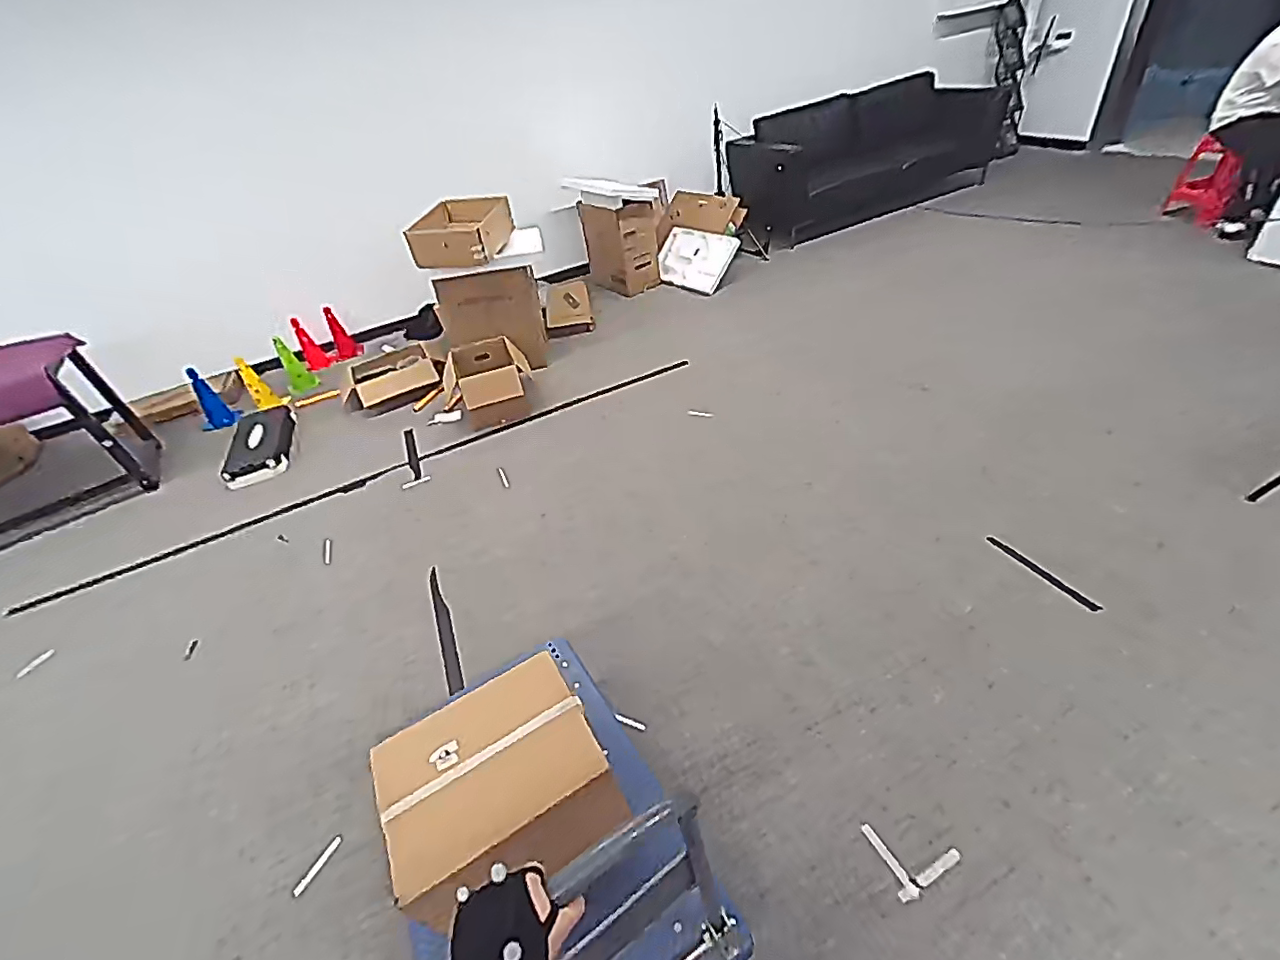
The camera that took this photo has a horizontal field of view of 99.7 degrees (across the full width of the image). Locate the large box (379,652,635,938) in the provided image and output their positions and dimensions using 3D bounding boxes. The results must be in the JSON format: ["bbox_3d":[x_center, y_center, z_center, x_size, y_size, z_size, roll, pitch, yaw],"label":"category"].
[{"bbox_3d":[-0.274,0.665,1.169,0.408,0.320,0.320,-27,41,-17],"label":"large box"}]
